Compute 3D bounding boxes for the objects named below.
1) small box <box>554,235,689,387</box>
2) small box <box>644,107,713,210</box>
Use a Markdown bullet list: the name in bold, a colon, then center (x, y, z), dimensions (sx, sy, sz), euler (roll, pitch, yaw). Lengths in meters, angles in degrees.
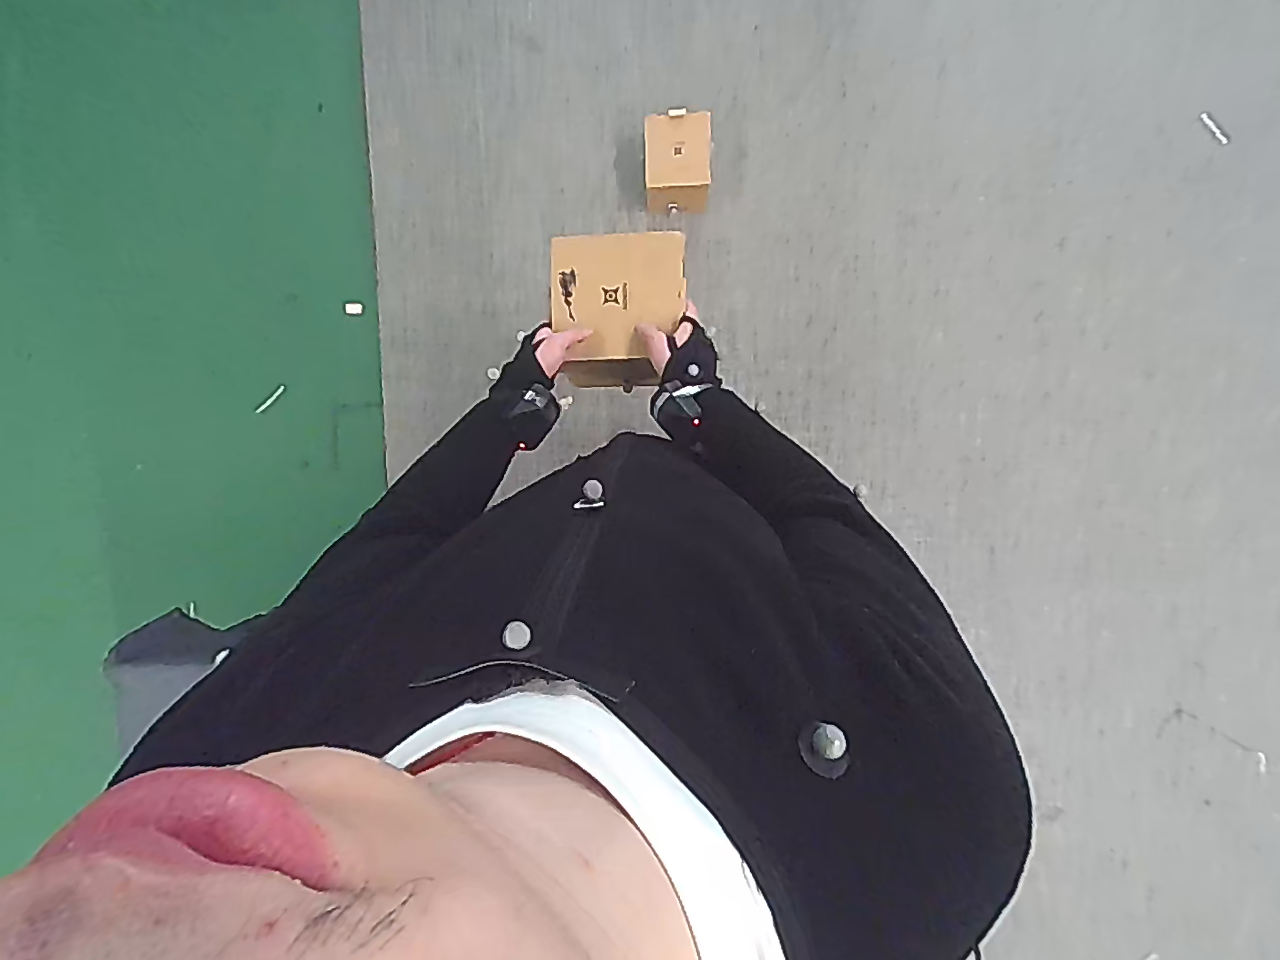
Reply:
- **small box**: center (-0.021, -0.233, 0.778), dimensions (0.179, 0.176, 0.168), euler (-1, 88, 4)
- **small box**: center (0.099, -0.825, 1.399), dimensions (0.168, 0.176, 0.179), euler (1, 95, 5)
